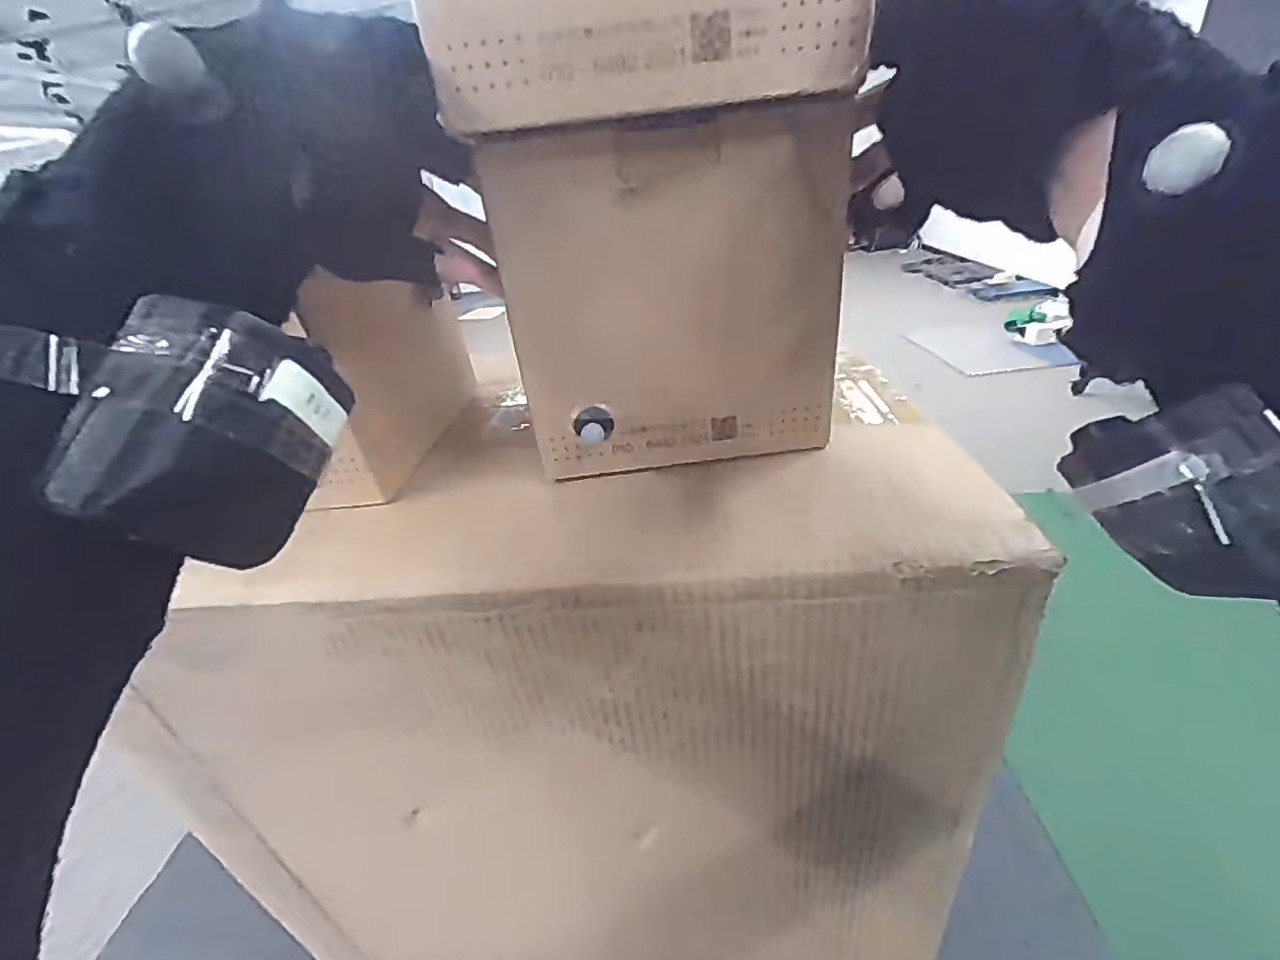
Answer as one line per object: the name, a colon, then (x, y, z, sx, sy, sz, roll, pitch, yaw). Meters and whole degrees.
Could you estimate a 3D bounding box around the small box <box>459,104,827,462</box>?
small box: (0.008, -0.120, 0.342, 0.168, 0.176, 0.179, -8, 31, 1)

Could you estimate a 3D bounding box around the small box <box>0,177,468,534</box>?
small box: (-0.232, -0.086, 0.356, 0.168, 0.176, 0.179, -7, 33, 7)
